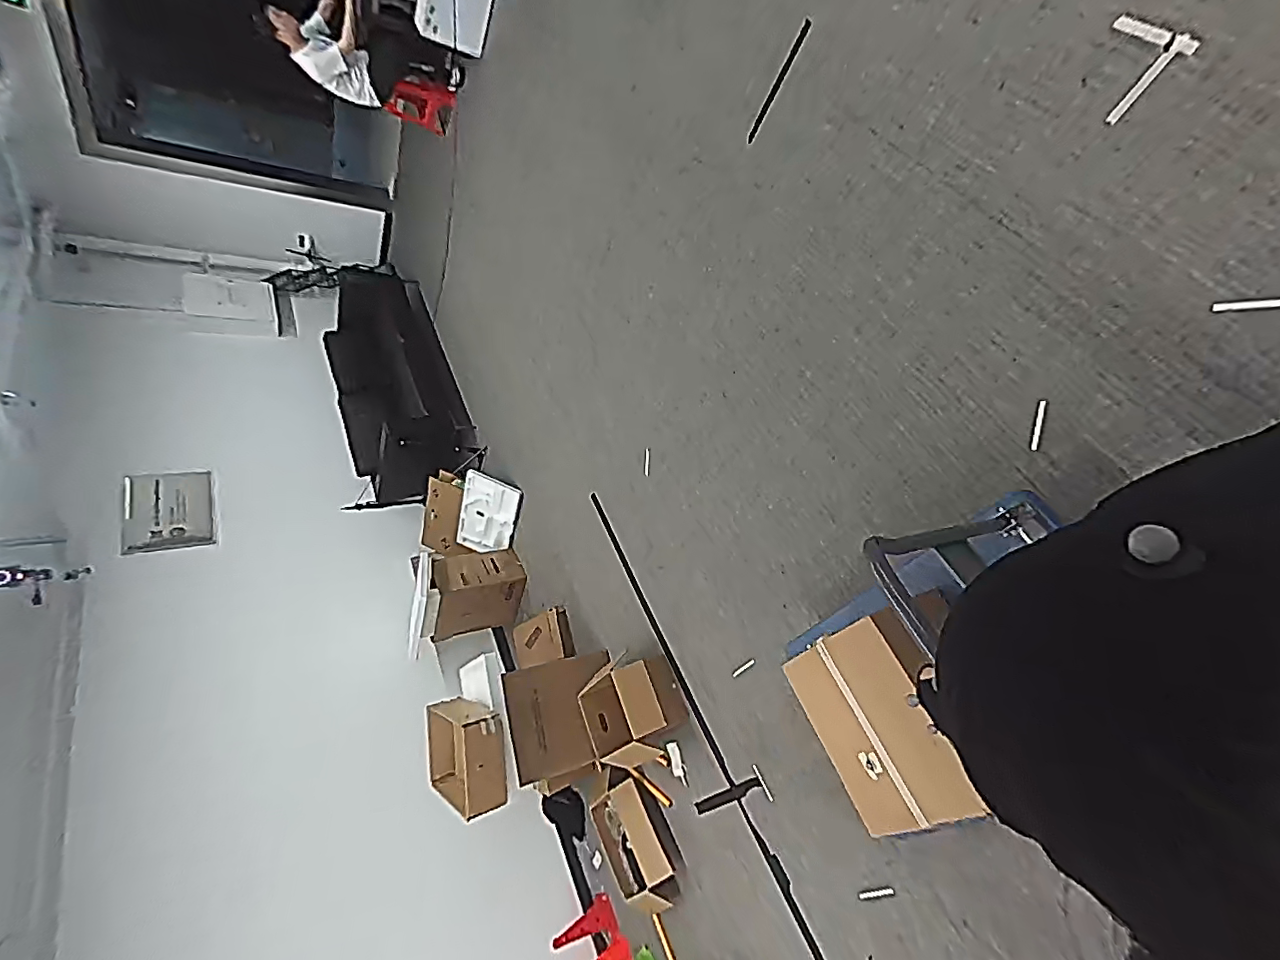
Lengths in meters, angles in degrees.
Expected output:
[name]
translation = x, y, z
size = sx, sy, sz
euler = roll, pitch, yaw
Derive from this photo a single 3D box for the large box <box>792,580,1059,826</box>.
[large box]
translation = 0.646, 0.502, 1.264
size = 0.320, 0.320, 0.408
euler = -54, 53, 43
